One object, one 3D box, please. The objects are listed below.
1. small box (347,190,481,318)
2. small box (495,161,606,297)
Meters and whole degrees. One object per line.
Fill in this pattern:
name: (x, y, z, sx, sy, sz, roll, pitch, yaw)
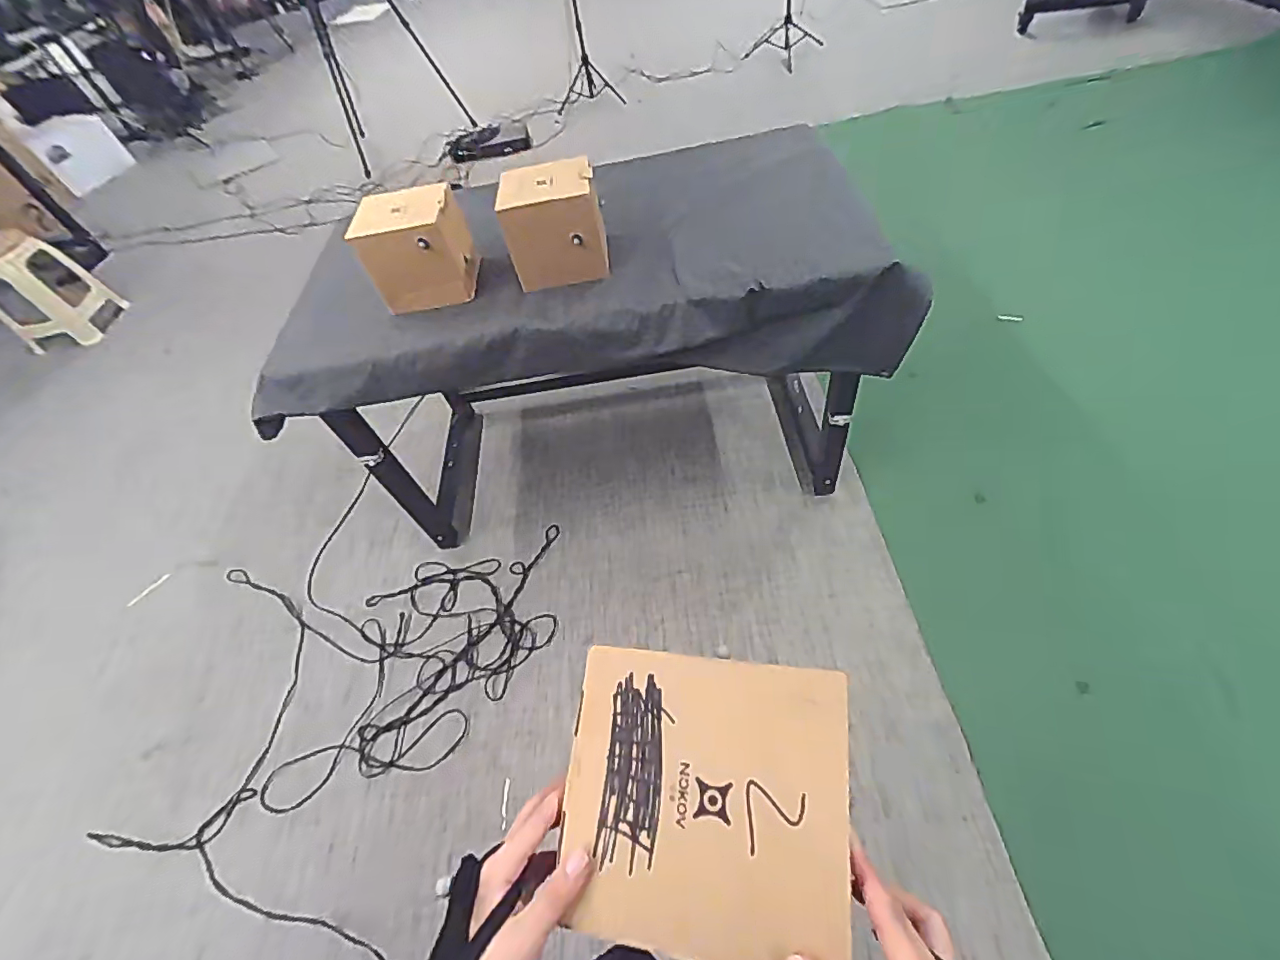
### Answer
small box: (-0.441, -0.448, 1.086, 0.179, 0.176, 0.168, -9, 52, 3)
small box: (-0.165, -0.488, 1.062, 0.179, 0.176, 0.168, -10, 51, 5)
